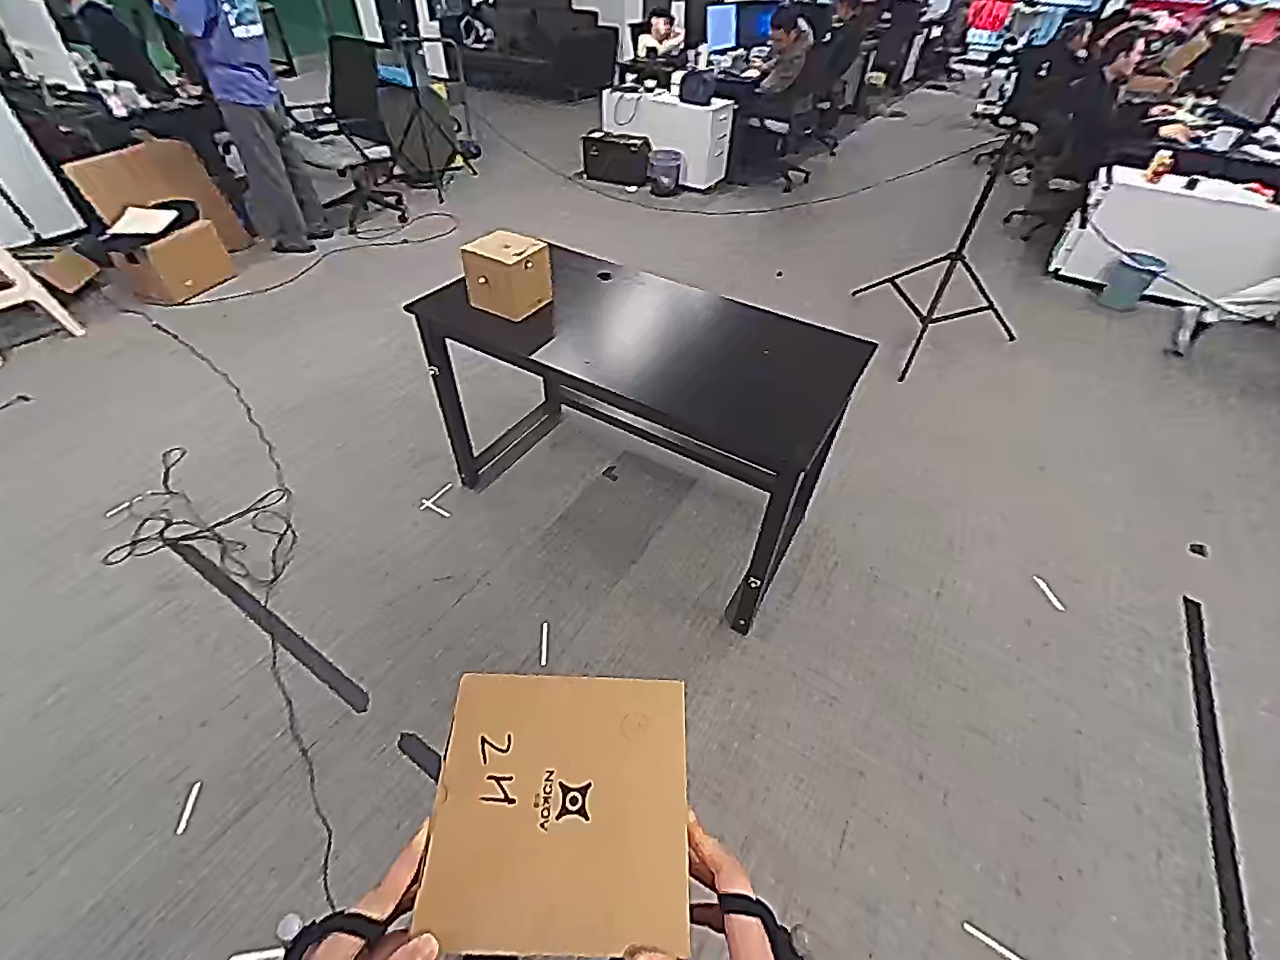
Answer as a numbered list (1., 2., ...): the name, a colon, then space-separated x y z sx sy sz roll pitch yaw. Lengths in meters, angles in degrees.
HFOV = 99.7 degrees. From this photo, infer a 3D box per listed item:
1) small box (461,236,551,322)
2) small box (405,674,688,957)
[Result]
1. small box: -0.373 -0.568 1.532 0.179 0.176 0.168 23 48 19
2. small box: -0.059 0.267 0.441 0.179 0.176 0.168 2 54 -1
